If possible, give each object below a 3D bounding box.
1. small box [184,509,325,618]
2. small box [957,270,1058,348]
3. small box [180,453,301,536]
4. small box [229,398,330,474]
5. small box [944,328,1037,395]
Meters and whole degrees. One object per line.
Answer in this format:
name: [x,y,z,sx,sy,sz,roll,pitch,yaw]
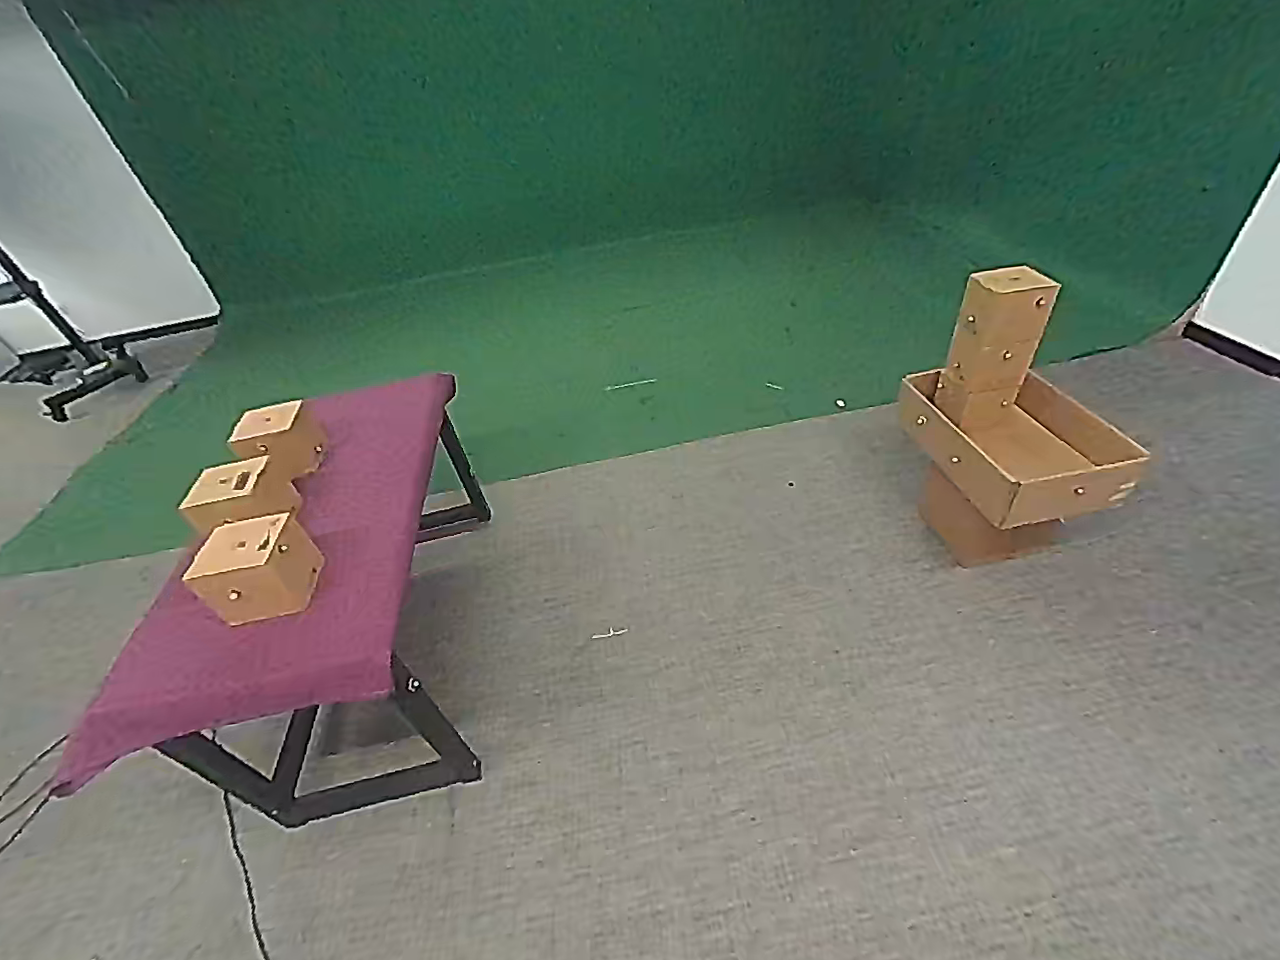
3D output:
small box: [-0.870,0.196,1.243,0.179,0.176,0.168,-11,41,-2]
small box: [1.117,-0.523,1.660,0.179,0.176,0.168,-8,40,1]
small box: [-1.045,0.056,1.437,0.179,0.176,0.168,-13,41,-3]
small box: [-1.092,-0.124,1.653,0.179,0.176,0.168,-12,42,-4]
small box: [1.135,-0.398,1.766,0.179,0.176,0.168,-9,40,-1]
